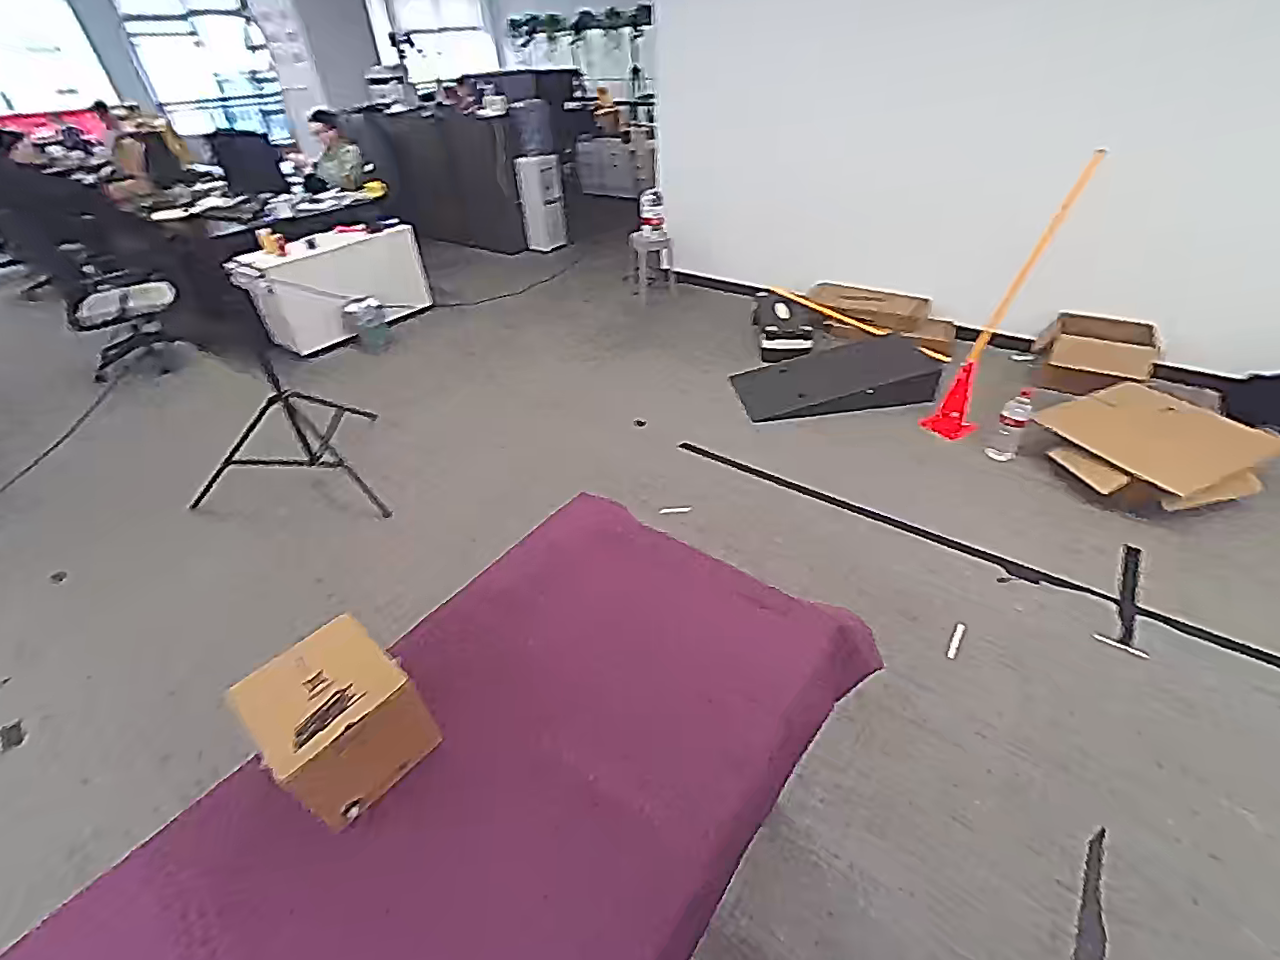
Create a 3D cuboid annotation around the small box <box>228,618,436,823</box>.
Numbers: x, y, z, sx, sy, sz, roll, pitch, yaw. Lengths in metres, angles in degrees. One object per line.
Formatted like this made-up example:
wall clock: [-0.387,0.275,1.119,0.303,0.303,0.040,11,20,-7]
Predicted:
small box: [-0.413,0.335,0.750,0.179,0.176,0.168,27,47,32]
